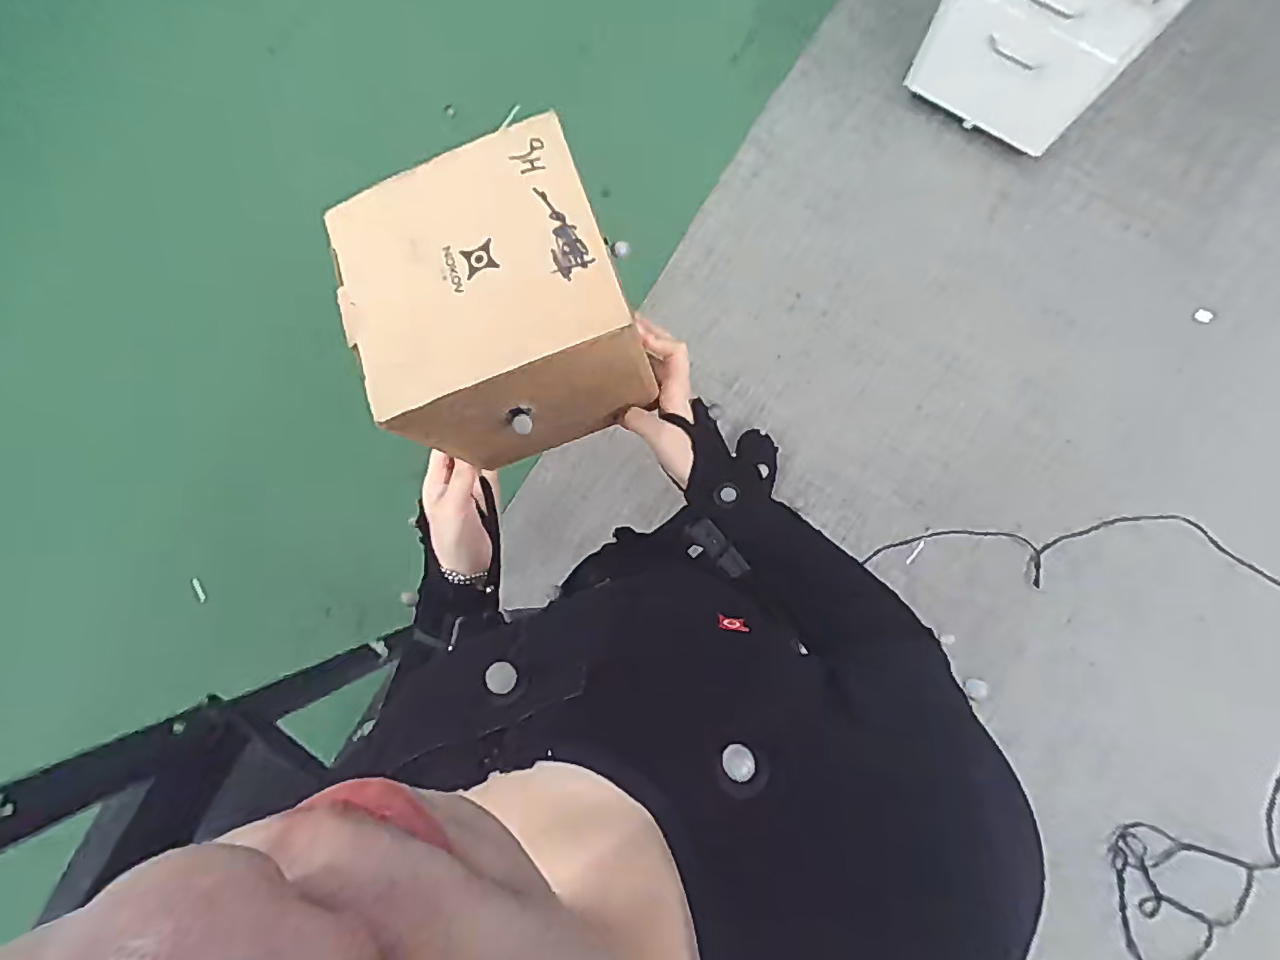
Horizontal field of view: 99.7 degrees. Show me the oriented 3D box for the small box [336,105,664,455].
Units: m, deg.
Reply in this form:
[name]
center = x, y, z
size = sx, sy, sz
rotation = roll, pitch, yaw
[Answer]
[small box]
center = -0.094, -0.132, 0.427
size = 0.179, 0.176, 0.168
rotation = -20, 79, 6
